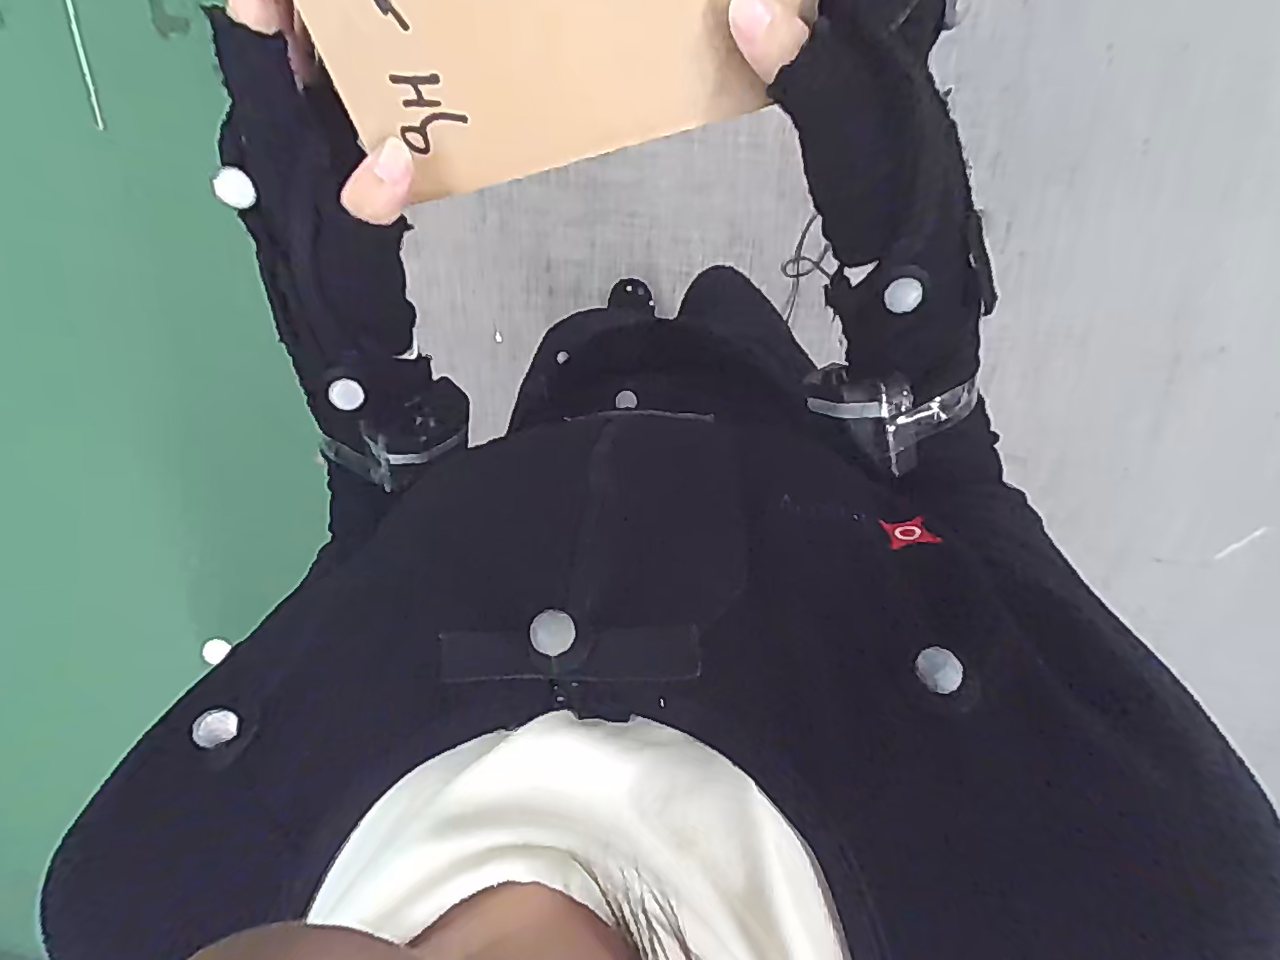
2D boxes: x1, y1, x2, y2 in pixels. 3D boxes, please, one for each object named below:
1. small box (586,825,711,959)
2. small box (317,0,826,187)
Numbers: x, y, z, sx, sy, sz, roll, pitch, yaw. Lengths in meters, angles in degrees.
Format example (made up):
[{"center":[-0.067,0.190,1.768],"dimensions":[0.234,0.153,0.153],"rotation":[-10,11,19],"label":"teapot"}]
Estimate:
[{"center":[0.011,0.687,0.862],"dimensions":[0.179,0.176,0.168],"rotation":[4,111,0],"label":"small box"},{"center":[-0.041,-0.246,0.213],"dimensions":[0.179,0.176,0.168],"rotation":[-16,134,-2],"label":"small box"}]
